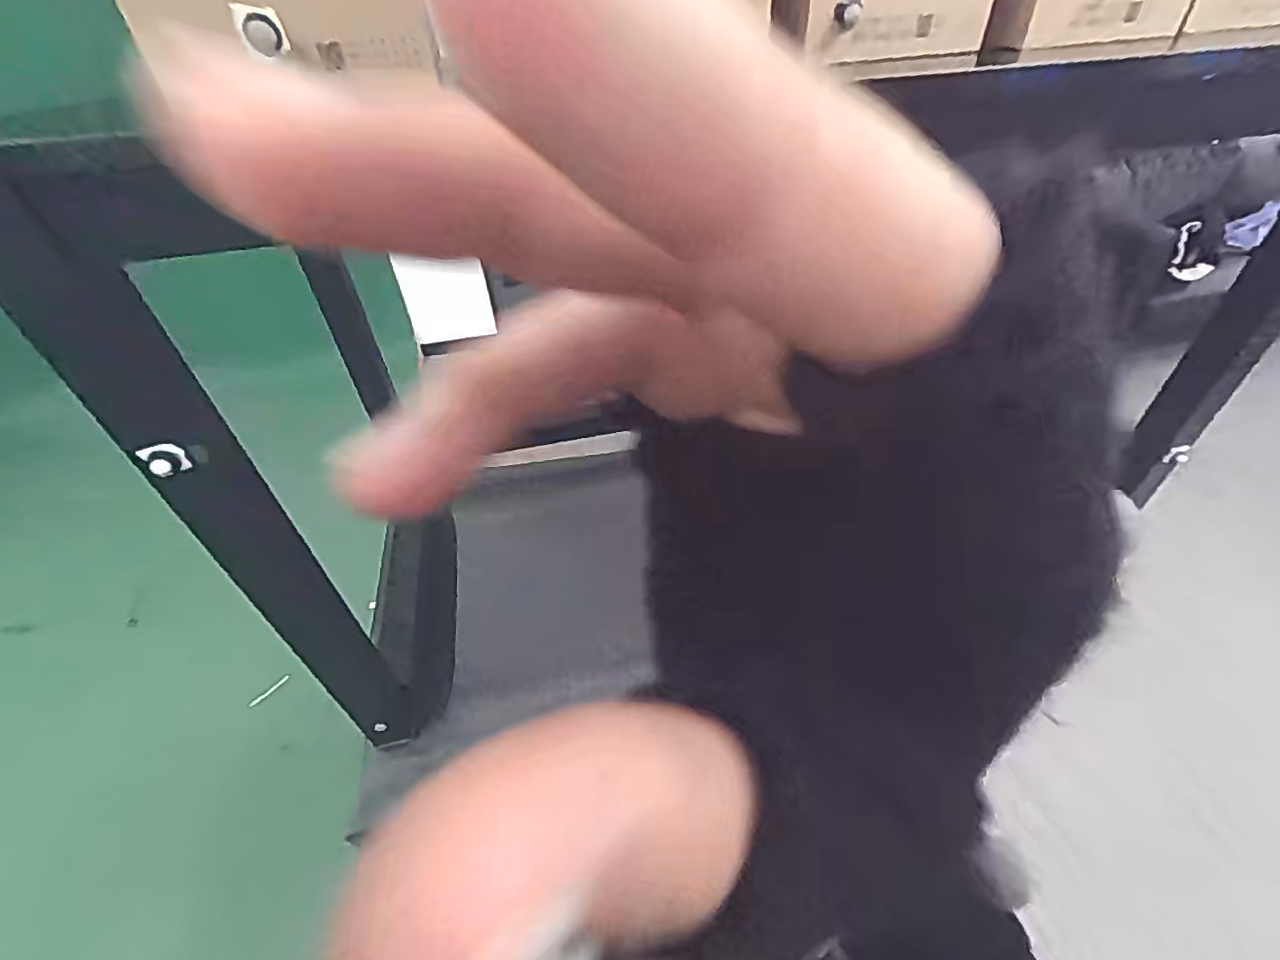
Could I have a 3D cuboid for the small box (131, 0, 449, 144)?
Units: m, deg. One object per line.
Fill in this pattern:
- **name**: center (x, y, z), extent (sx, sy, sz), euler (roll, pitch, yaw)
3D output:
- **small box**: center (-0.239, -0.346, 0.375), extent (0.168, 0.176, 0.179), euler (-13, 43, -10)
